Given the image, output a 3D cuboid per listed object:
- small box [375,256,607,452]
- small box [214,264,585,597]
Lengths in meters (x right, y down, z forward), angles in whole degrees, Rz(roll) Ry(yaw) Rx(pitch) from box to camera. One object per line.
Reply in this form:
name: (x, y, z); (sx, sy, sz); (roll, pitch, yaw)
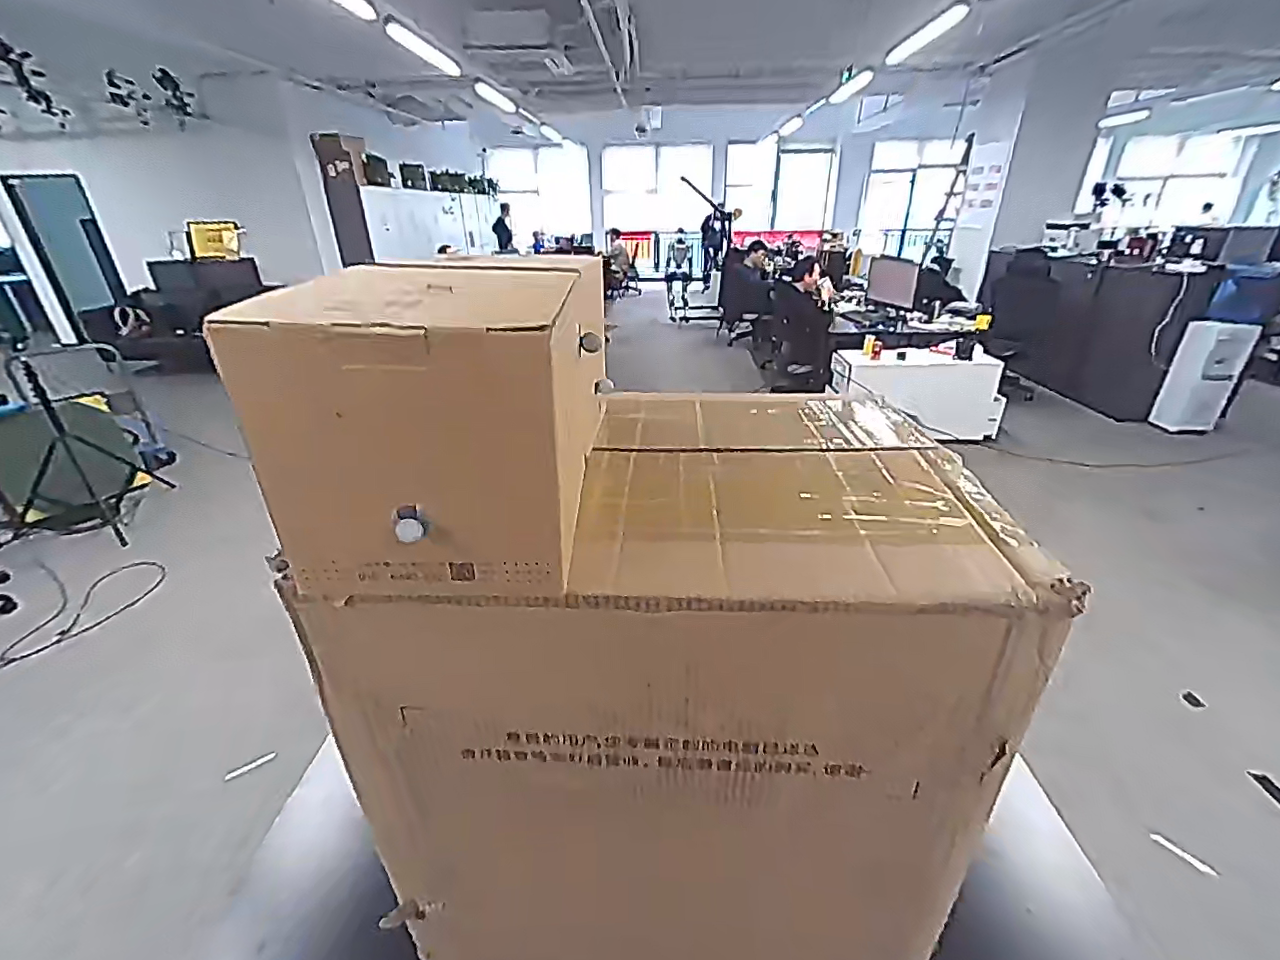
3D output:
small box: (-0.129, -0.125, 0.530); (0.179, 0.176, 0.168); (2, 25, 2)
small box: (-0.125, -0.043, 0.367); (0.168, 0.176, 0.179); (0, 30, -2)
